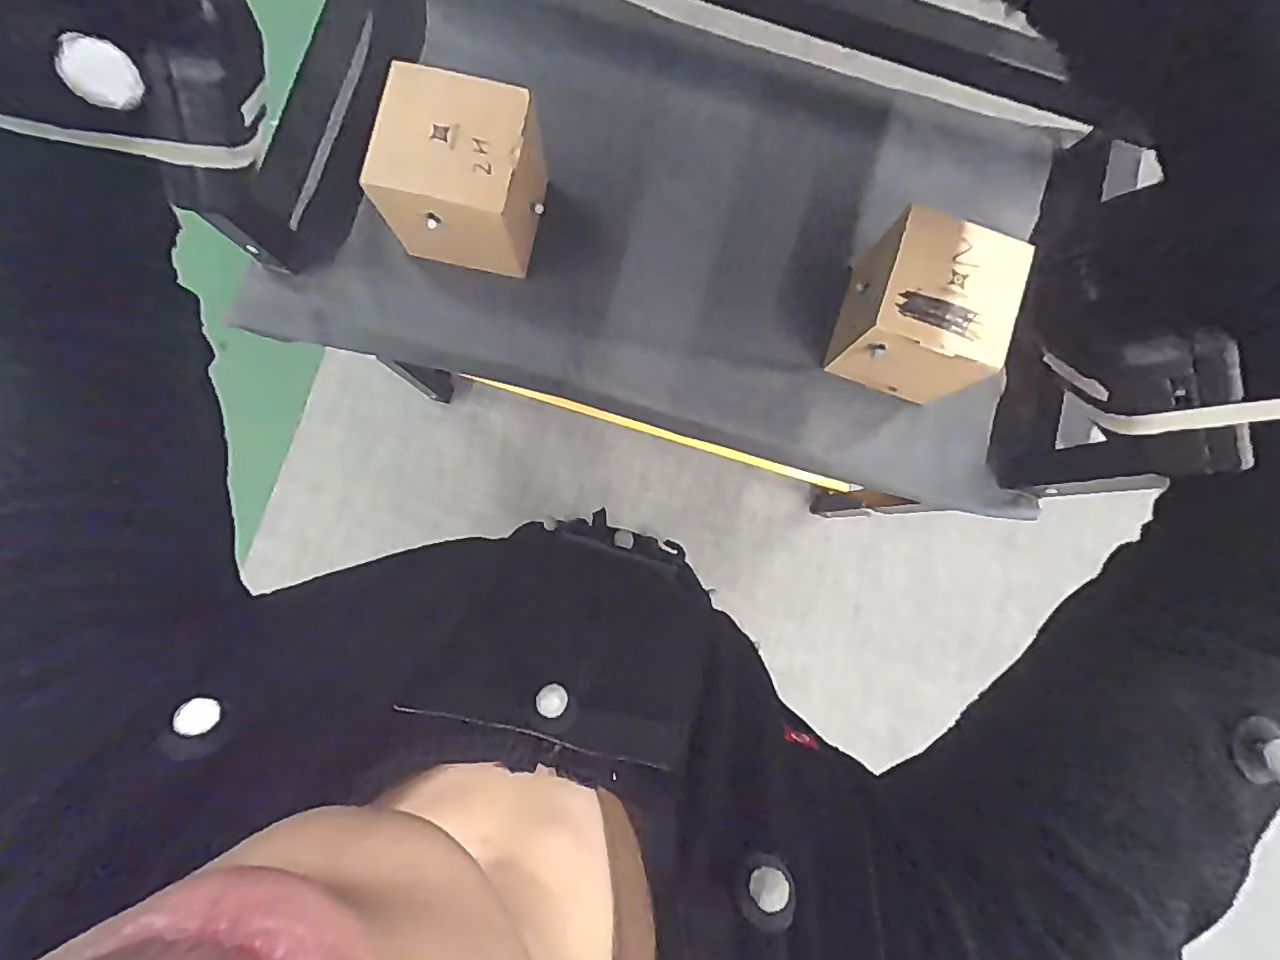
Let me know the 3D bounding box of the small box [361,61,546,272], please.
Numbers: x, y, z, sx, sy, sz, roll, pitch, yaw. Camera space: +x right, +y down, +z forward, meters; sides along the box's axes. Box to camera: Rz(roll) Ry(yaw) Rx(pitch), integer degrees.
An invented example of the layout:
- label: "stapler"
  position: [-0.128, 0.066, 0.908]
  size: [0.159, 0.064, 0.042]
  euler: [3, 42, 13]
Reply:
- label: "small box"
  position: [-0.236, -0.408, 0.732]
  size: [0.179, 0.176, 0.168]
  euler: [12, 84, -2]
